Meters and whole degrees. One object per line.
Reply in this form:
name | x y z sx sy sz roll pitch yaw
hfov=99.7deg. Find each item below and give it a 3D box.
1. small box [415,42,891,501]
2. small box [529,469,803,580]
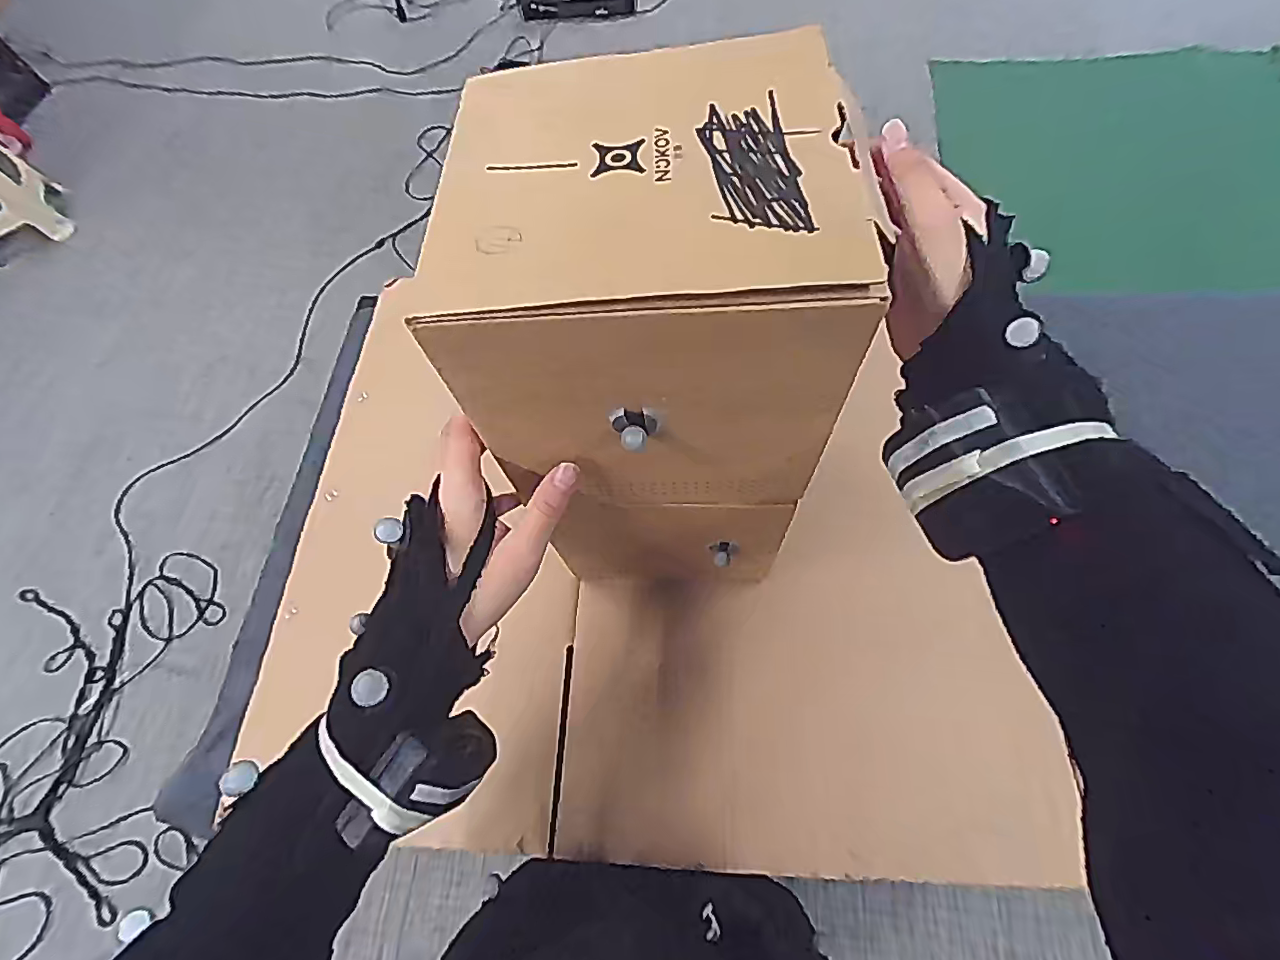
small box | 0.010 -0.095 0.300 0.179 0.176 0.168 -2 63 5
small box | 0.024 -0.020 0.446 0.179 0.176 0.168 -2 63 6
